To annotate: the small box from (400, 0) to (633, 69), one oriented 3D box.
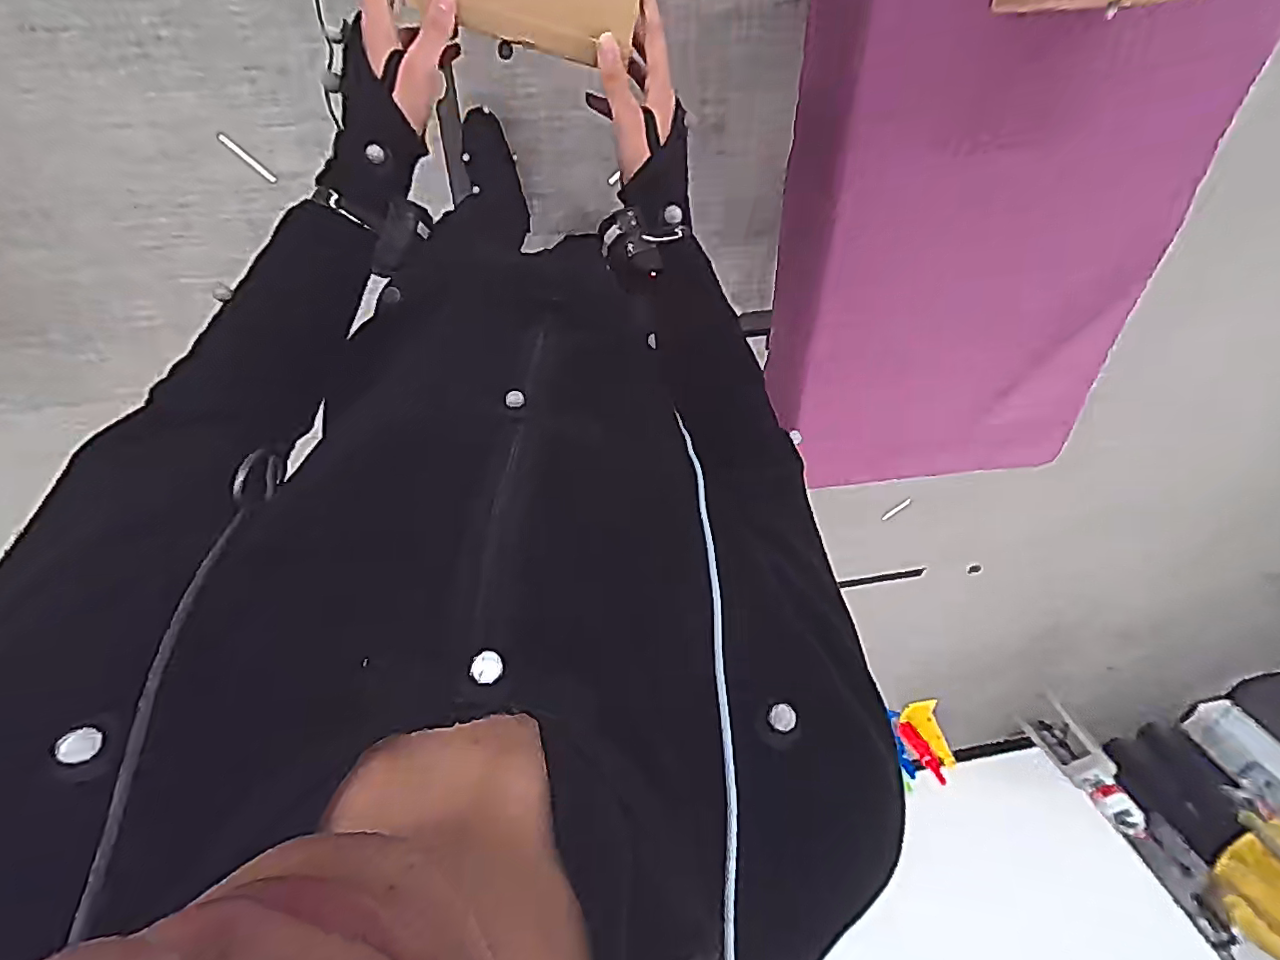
[{"bbox_3d":[-0.092,-0.457,0.438,0.179,0.176,0.168,5,127,-15],"label":"small box"}]
